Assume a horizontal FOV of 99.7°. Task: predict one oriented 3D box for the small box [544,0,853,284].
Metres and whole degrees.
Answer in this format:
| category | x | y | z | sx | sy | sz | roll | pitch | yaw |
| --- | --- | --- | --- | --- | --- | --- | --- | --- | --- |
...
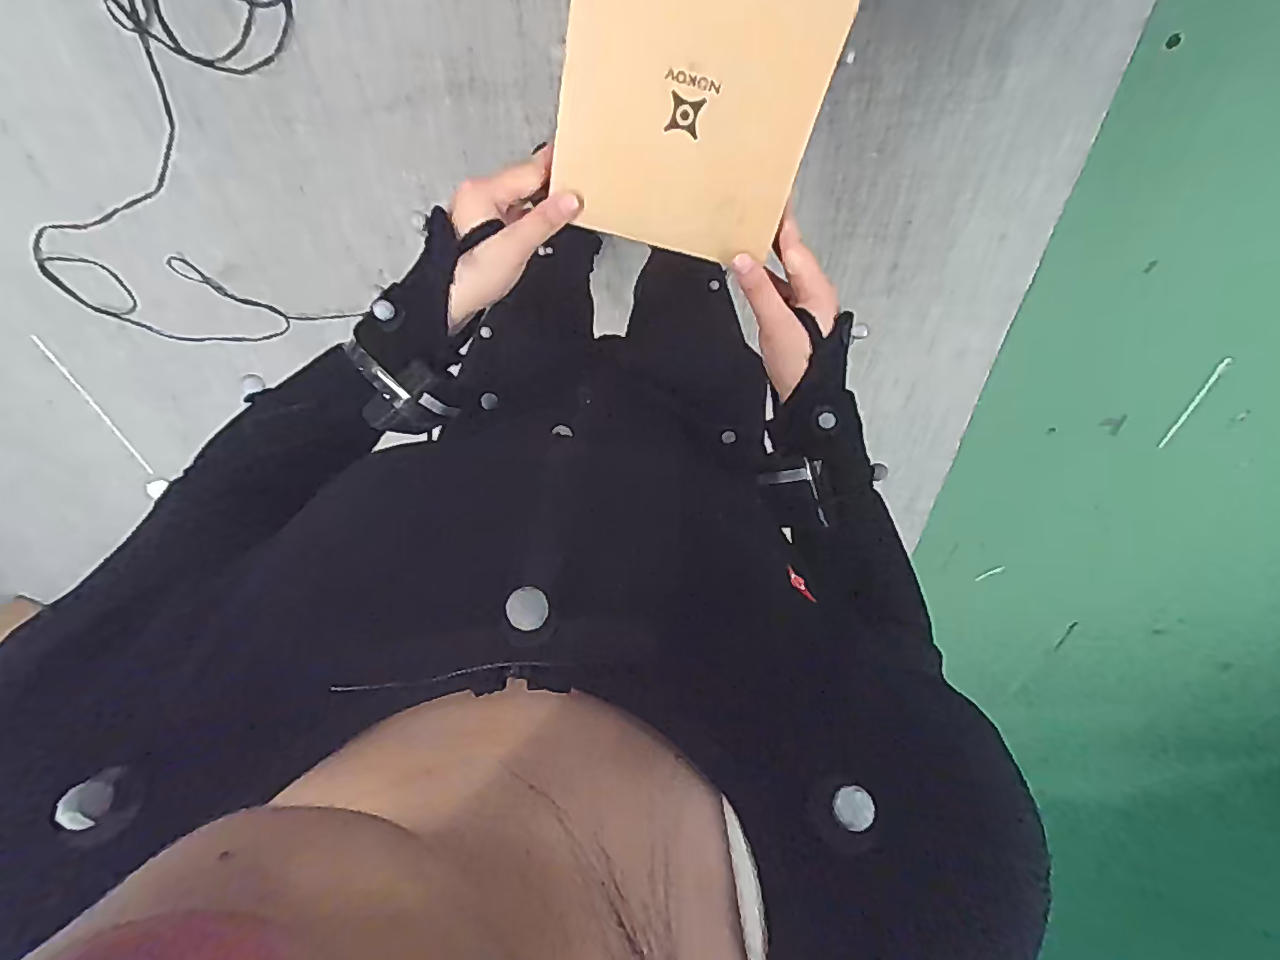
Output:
| category | x | y | z | sx | sy | sz | roll | pitch | yaw |
| --- | --- | --- | --- | --- | --- | --- | --- | --- | --- |
| small box | 0.034 | -0.280 | 0.418 | 0.168 | 0.176 | 0.179 | 13 | 125 | -4 |
